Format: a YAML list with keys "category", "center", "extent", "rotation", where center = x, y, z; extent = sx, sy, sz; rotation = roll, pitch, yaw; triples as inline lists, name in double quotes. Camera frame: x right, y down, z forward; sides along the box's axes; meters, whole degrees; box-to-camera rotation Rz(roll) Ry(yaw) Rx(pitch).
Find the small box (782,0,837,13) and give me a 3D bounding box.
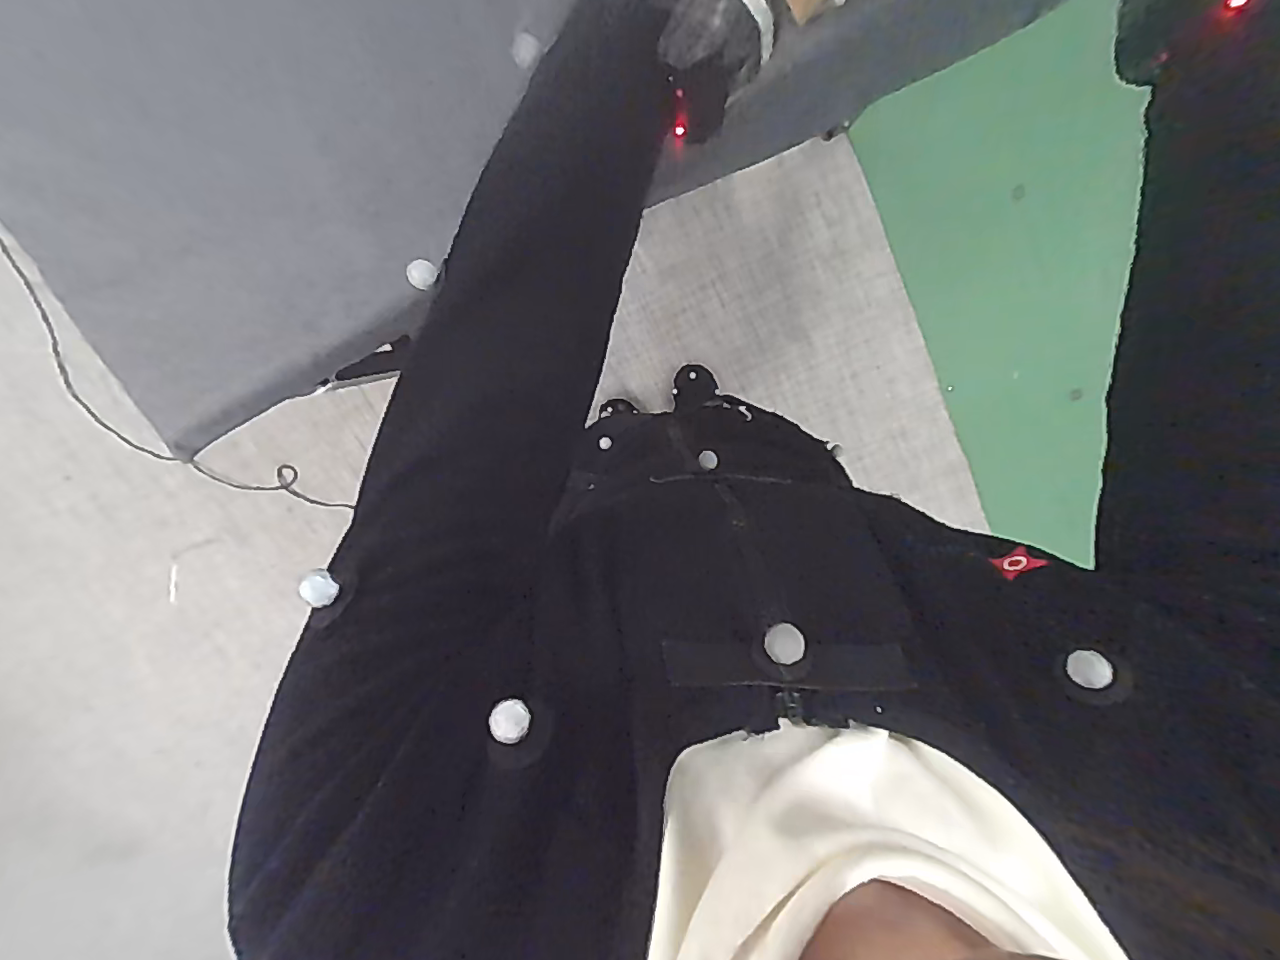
- category: "small box"
  center: [0.182, -0.552, 0.454]
  extent: [0.168, 0.176, 0.179]
  rotation: [-29, 100, 12]
